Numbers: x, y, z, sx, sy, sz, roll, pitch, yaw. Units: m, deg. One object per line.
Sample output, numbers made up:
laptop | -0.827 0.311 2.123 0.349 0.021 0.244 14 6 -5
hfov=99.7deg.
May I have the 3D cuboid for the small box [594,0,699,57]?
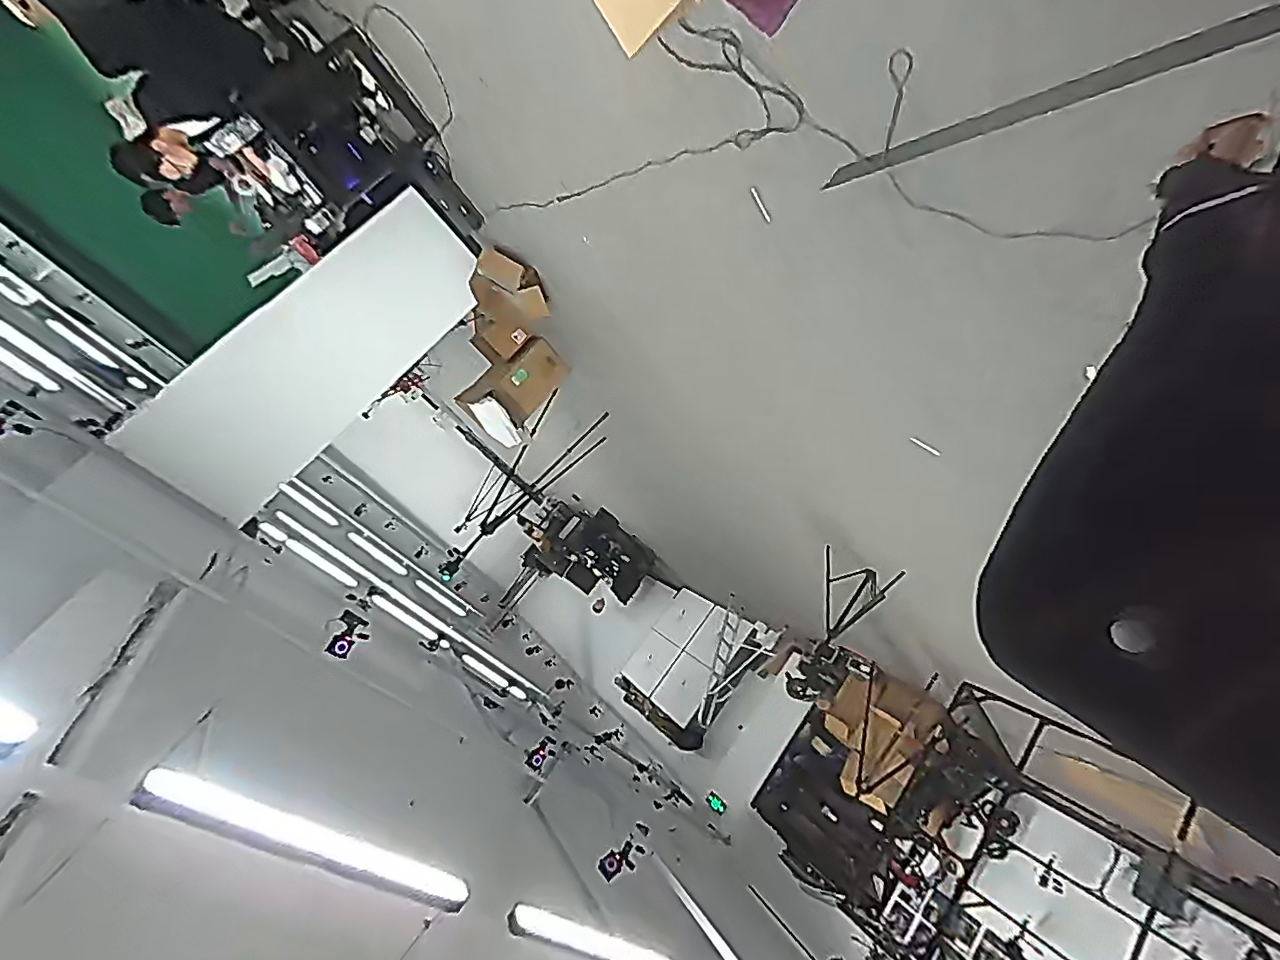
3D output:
small box | 0.028 -0.733 0.723 0.168 0.176 0.179 47 162 -26
